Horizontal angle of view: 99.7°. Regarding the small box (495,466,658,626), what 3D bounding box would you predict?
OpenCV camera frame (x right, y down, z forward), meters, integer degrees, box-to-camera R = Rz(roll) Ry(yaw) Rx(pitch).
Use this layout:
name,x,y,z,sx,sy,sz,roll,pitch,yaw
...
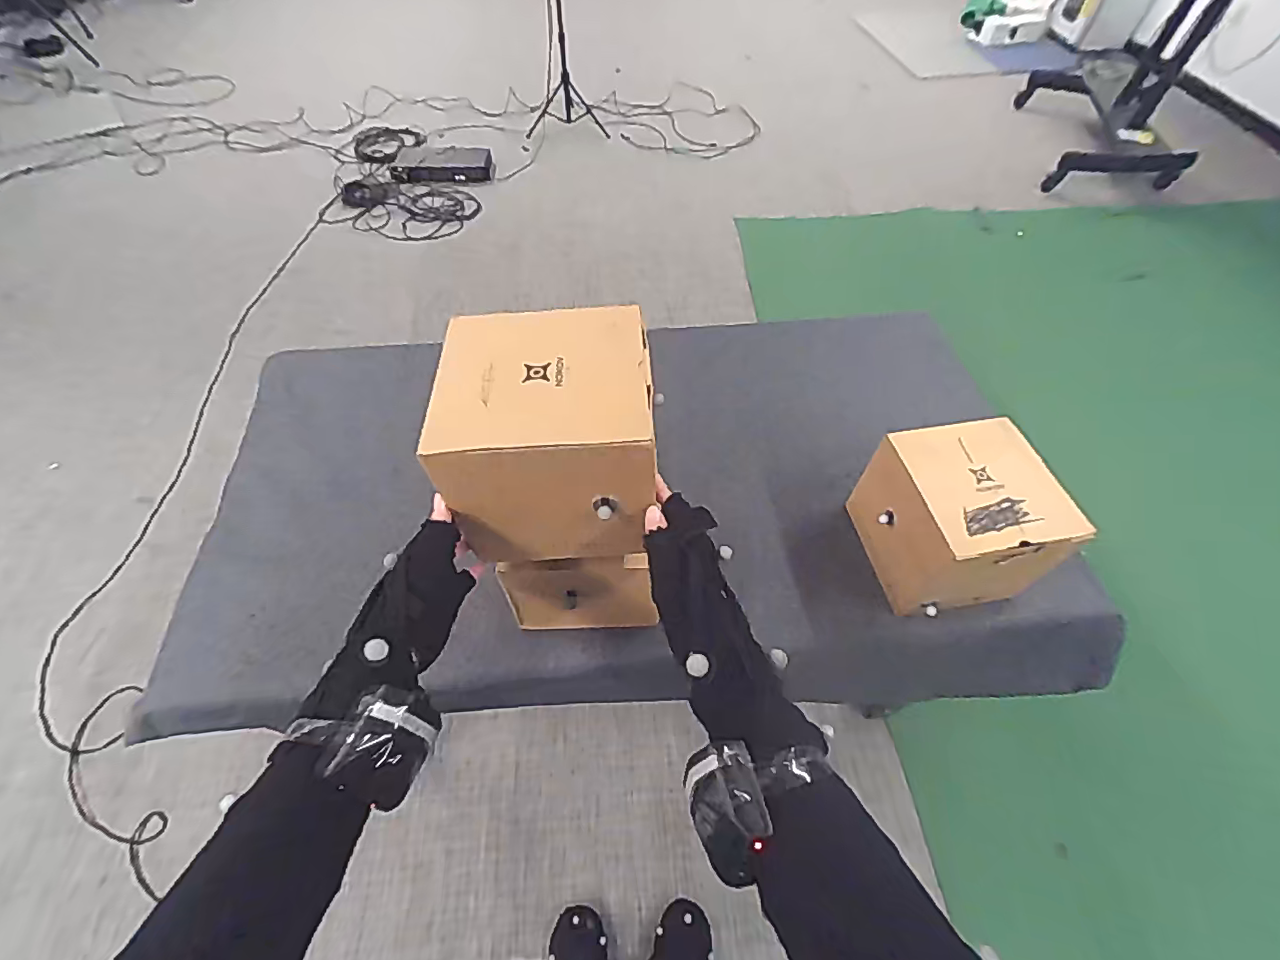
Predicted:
name,x,y,z,sx,sy,sz,roll,pitch,yaw
small box,-0.069,0.076,0.679,0.179,0.176,0.168,-1,54,-2

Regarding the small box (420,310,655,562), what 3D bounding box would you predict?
name,x,y,z,sx,sy,sz,roll,pitch,yaw
small box,-0.077,-0.036,0.510,0.179,0.176,0.168,-4,52,1

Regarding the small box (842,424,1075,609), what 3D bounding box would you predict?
name,x,y,z,sx,sy,sz,roll,pitch,yaw
small box,0.389,0.055,0.700,0.168,0.176,0.179,-7,54,-6
